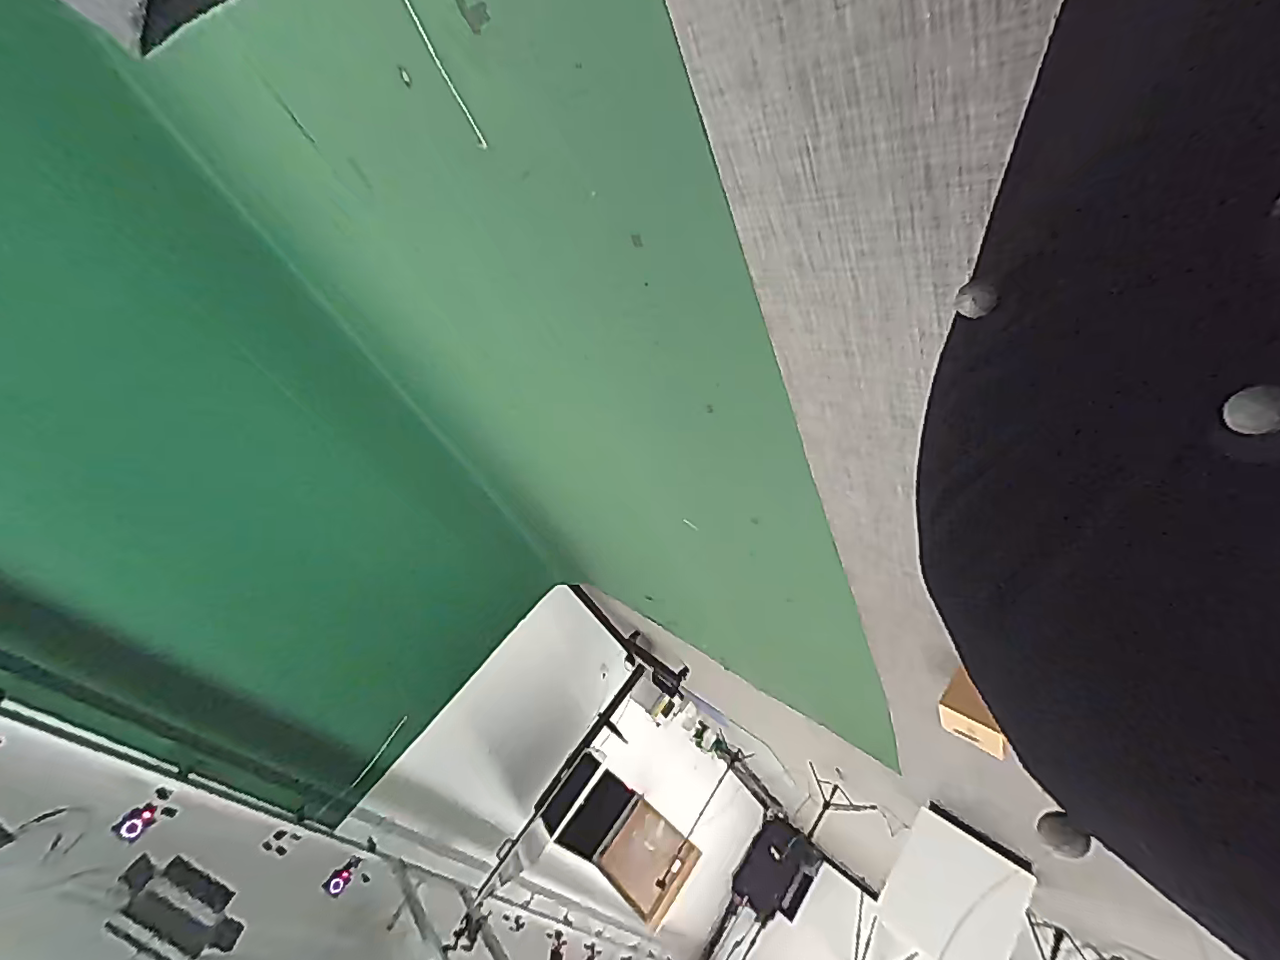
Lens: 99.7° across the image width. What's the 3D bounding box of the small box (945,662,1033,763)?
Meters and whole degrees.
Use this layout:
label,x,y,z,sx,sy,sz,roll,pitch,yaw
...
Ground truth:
label,x,y,z,sx,sy,sz,roll,pitch,yaw
small box,0.999,0.660,1.546,0.168,0.176,0.179,19,148,46
